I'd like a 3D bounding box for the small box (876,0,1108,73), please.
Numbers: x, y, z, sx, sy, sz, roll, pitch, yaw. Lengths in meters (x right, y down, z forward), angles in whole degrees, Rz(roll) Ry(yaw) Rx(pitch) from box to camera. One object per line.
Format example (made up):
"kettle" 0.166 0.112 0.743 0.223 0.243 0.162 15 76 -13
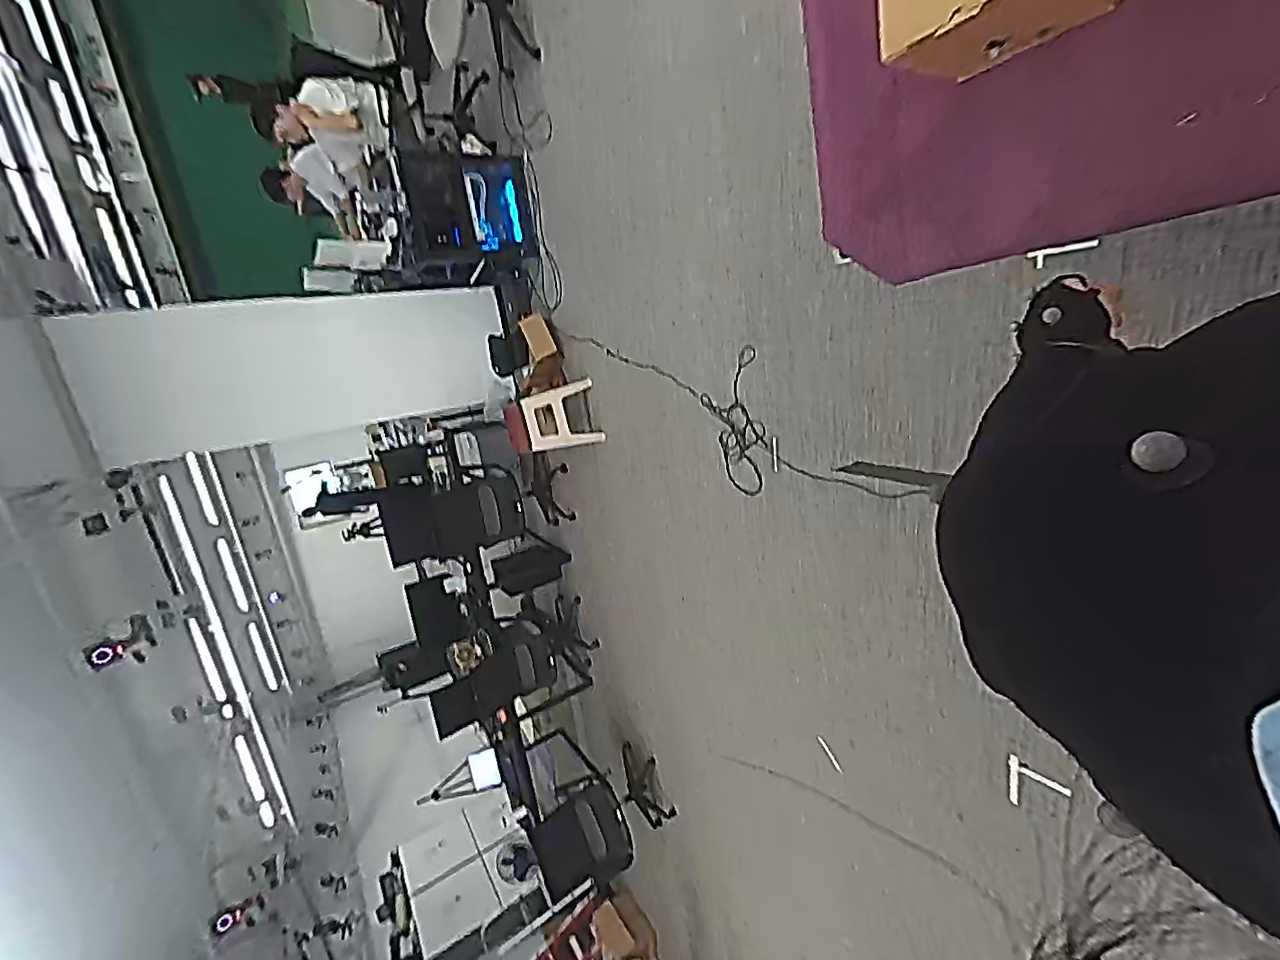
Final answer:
"small box" 0.364 -0.561 0.556 0.168 0.176 0.179 11 115 56
